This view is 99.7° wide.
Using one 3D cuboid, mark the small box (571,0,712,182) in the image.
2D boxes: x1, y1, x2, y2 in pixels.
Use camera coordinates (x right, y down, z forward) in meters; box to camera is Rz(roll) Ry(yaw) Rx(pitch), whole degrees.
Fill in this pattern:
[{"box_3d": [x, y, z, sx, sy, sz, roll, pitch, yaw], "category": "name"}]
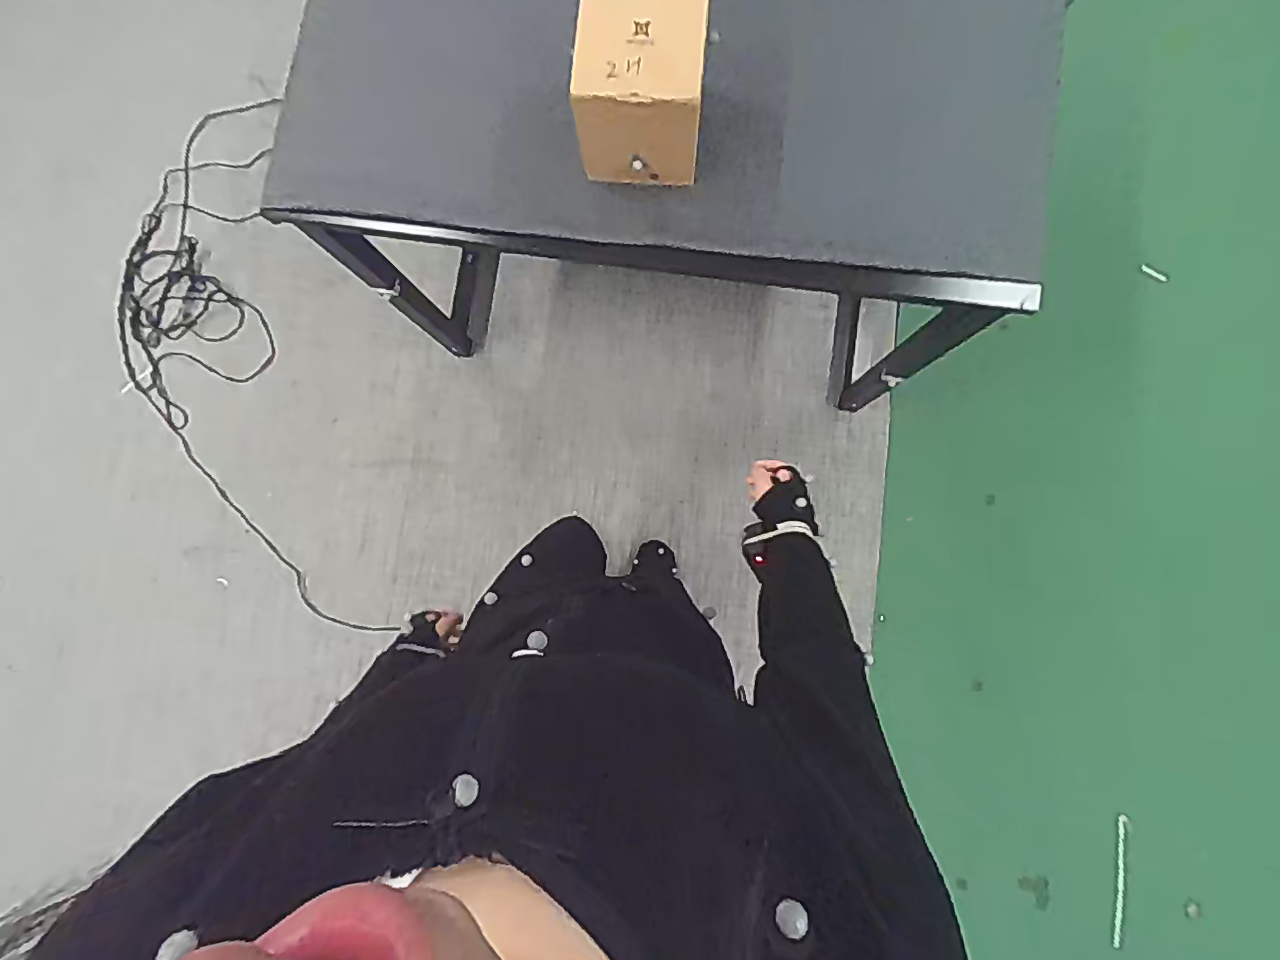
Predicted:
[{"box_3d": [0.007, -0.553, 0.750, 0.168, 0.176, 0.179, 5, 84, 3], "category": "small box"}]
